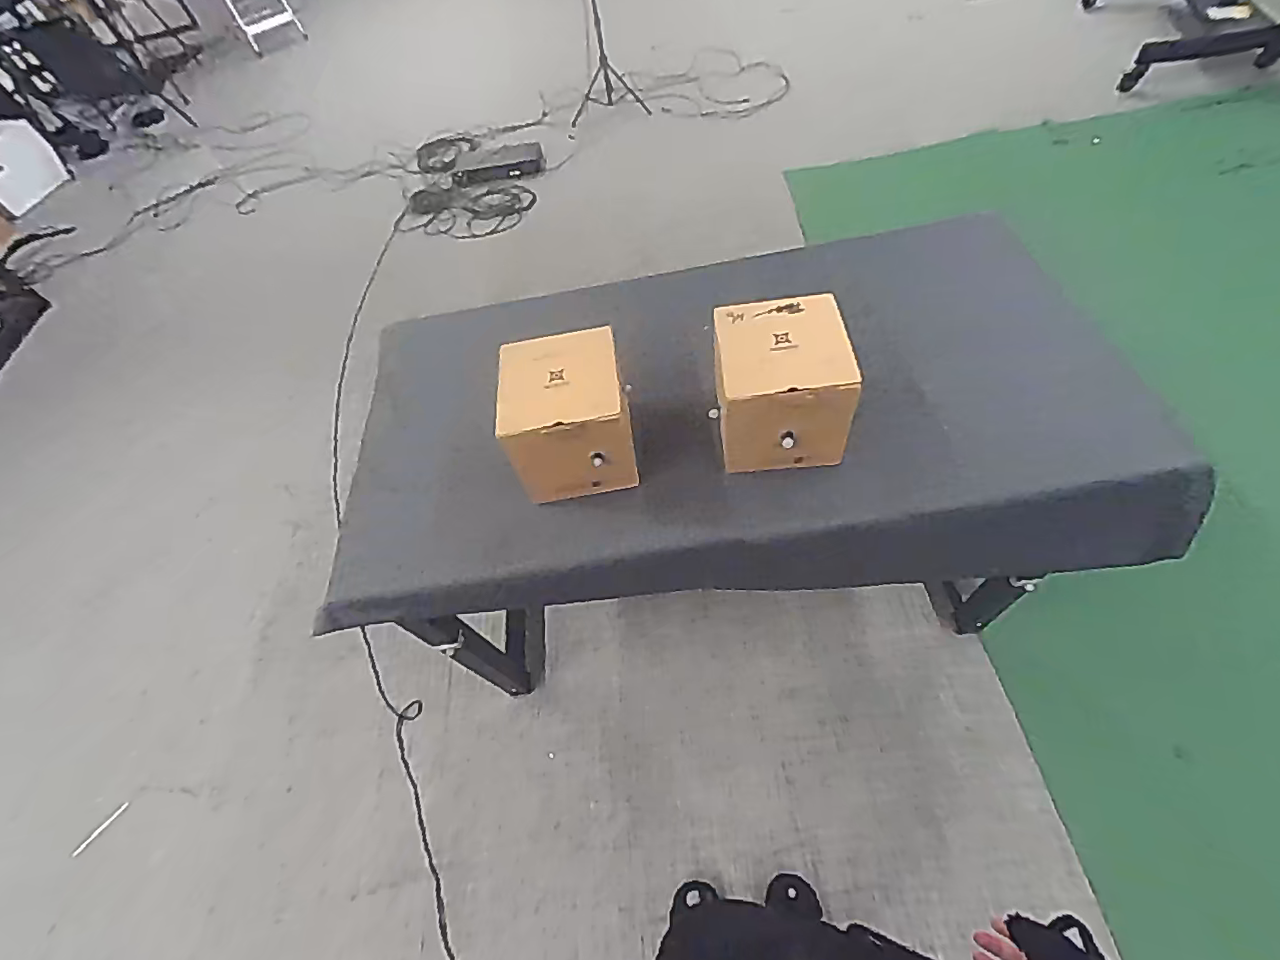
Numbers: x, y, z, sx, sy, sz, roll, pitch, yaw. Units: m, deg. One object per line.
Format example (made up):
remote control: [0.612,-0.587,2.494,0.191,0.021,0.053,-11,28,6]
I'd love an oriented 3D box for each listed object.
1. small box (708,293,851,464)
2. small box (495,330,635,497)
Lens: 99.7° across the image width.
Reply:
small box: [0.191,-0.135,0.778,0.168,0.176,0.179,-6,57,7]
small box: [-0.106,-0.090,0.805,0.168,0.176,0.179,-10,54,2]
